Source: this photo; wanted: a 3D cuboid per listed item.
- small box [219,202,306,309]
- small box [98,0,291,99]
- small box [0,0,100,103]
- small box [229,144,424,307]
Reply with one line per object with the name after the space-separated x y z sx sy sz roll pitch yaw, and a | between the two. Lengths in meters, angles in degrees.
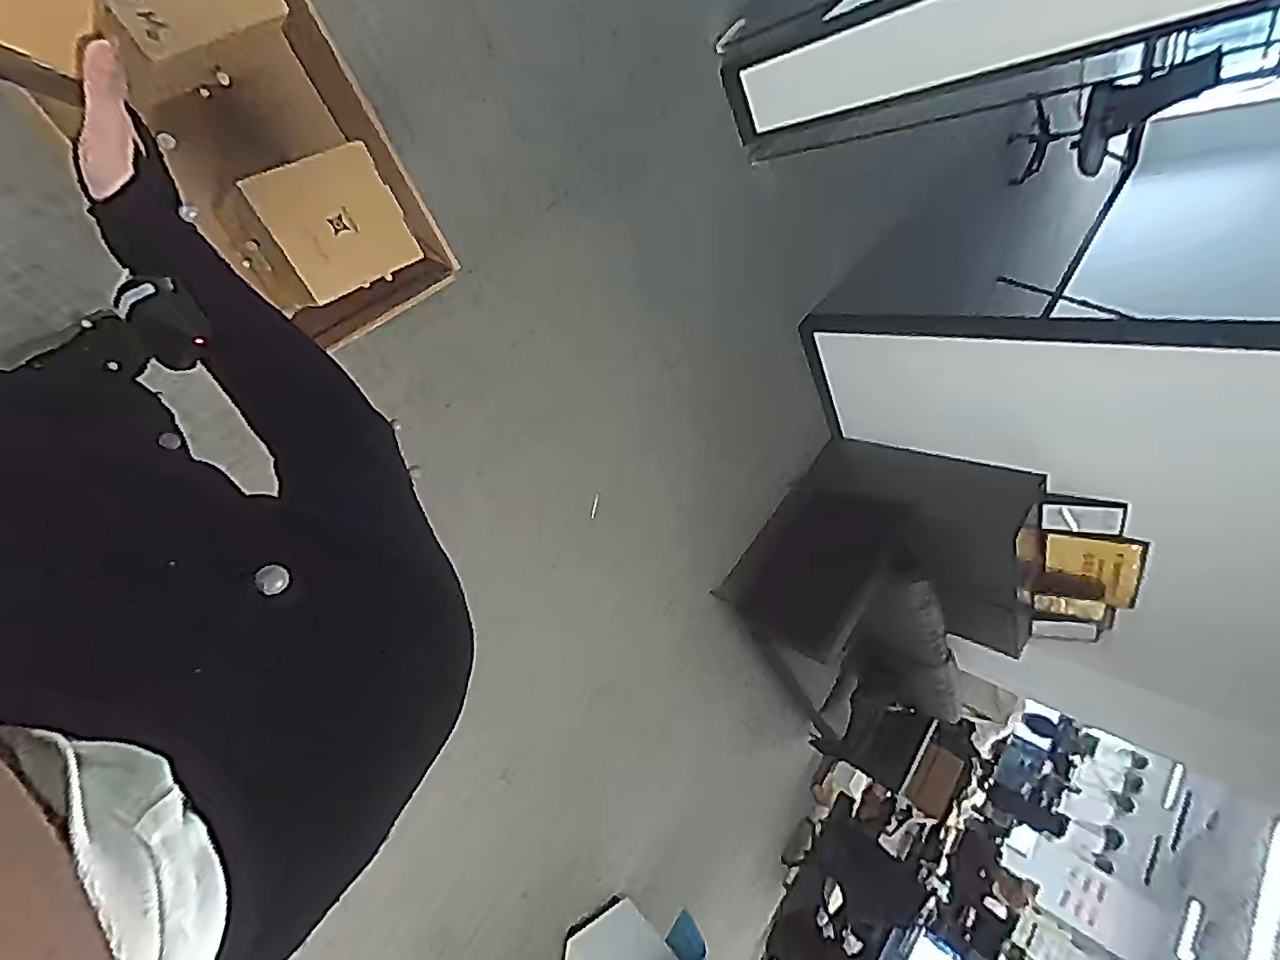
-0.575 -0.409 0.927 0.179 0.176 0.168 -40 127 -27 | small box
-0.566 -0.592 0.640 0.179 0.176 0.168 -46 129 -23 | small box
-0.491 -0.400 0.374 0.168 0.176 0.179 2 110 -46 | small box
-0.468 -0.374 0.808 0.179 0.176 0.168 -41 128 -26 | small box
